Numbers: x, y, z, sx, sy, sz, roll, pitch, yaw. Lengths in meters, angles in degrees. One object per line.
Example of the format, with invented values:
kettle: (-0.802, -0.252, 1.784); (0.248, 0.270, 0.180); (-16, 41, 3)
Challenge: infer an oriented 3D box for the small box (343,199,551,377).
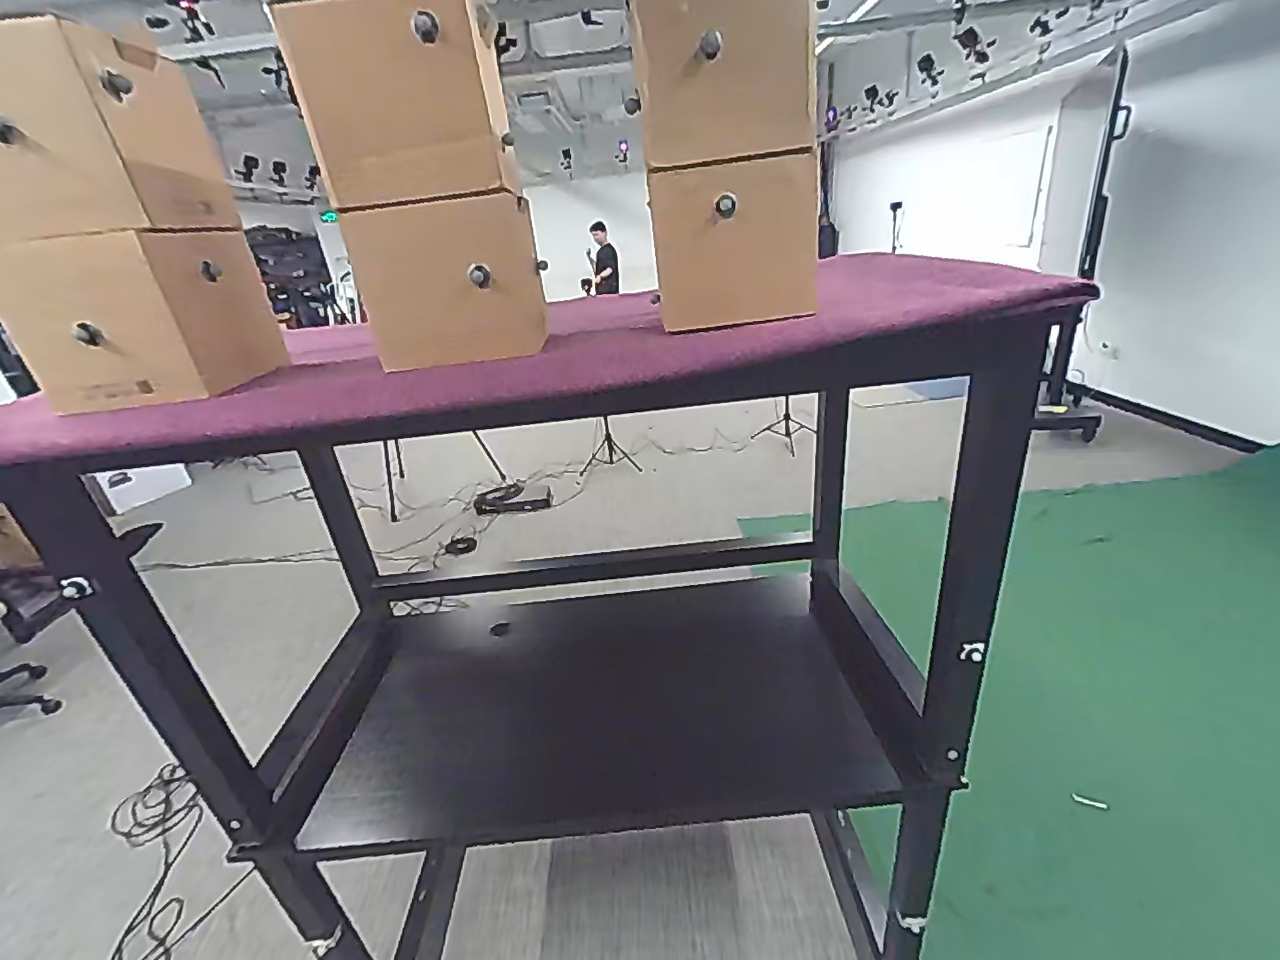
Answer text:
small box: (-0.210, -0.231, 0.651); (0.179, 0.176, 0.168); (-8, 23, 0)

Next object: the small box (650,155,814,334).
small box: (0.109, -0.281, 0.670); (0.179, 0.176, 0.168); (-6, 22, 3)

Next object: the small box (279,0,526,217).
small box: (-0.234, -0.379, 0.587); (0.179, 0.176, 0.168); (-8, 23, -2)

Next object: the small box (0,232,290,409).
small box: (-0.548, -0.184, 0.626); (0.168, 0.176, 0.179); (-6, 25, -2)

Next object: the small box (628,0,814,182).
small box: (0.087, -0.432, 0.609); (0.179, 0.176, 0.168); (-7, 22, 3)
